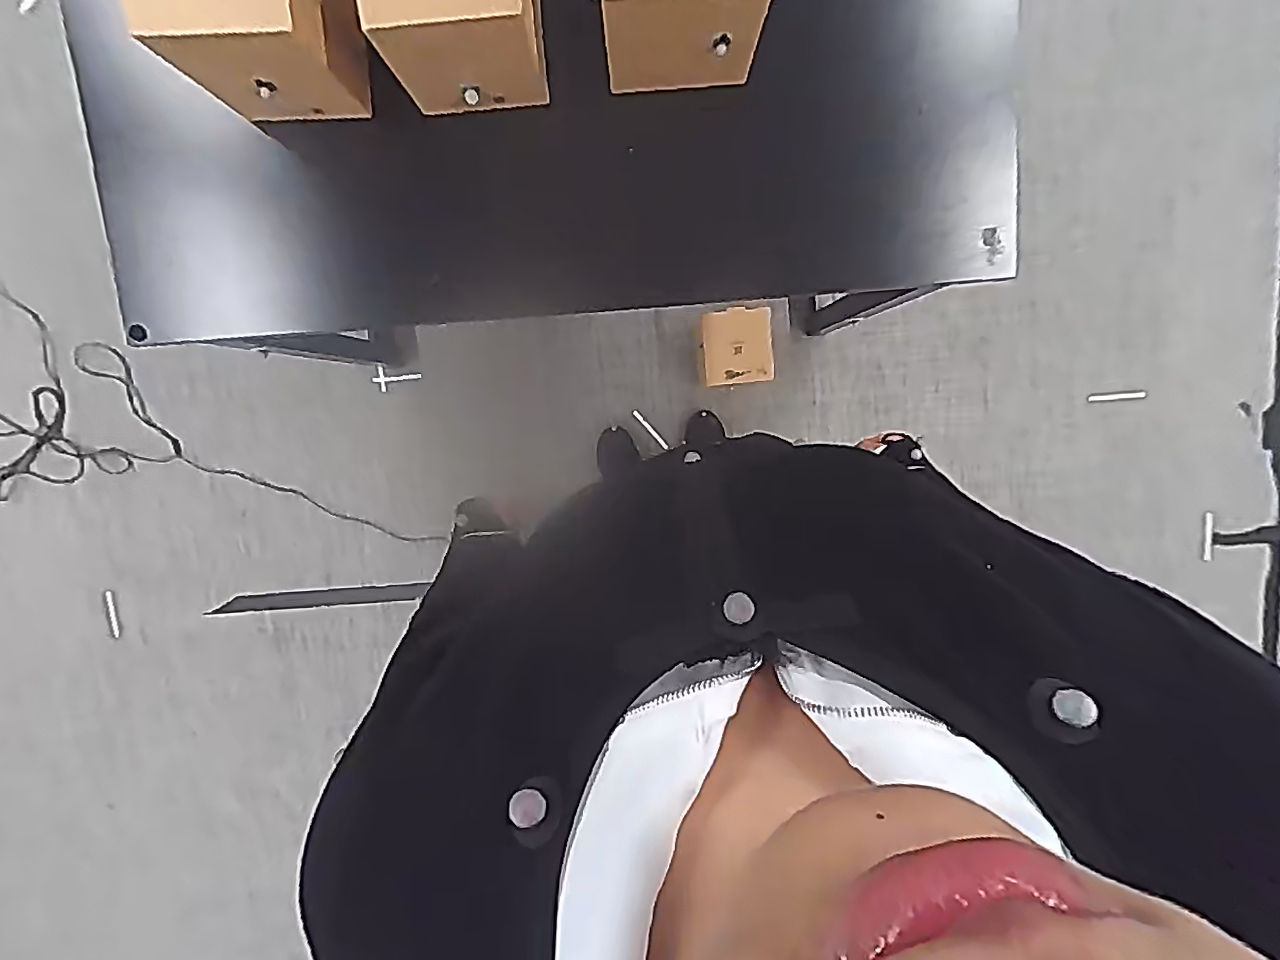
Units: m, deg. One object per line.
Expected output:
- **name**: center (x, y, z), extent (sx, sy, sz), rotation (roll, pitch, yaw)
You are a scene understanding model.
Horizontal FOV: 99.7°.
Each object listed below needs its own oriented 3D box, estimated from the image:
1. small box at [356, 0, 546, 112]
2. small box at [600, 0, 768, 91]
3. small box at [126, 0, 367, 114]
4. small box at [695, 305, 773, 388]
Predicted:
- **small box**: center (-0.206, -0.556, 0.607), extent (0.168, 0.176, 0.179), rotation (-5, 98, 1)
- **small box**: center (0.041, -0.576, 0.606), extent (0.179, 0.176, 0.168), rotation (-4, 96, 2)
- **small box**: center (-0.431, -0.543, 0.609), extent (0.168, 0.176, 0.179), rotation (-2, 98, -1)
- **small box**: center (0.234, -0.333, 1.372), extent (0.168, 0.176, 0.179), rotation (-5, 97, 2)
